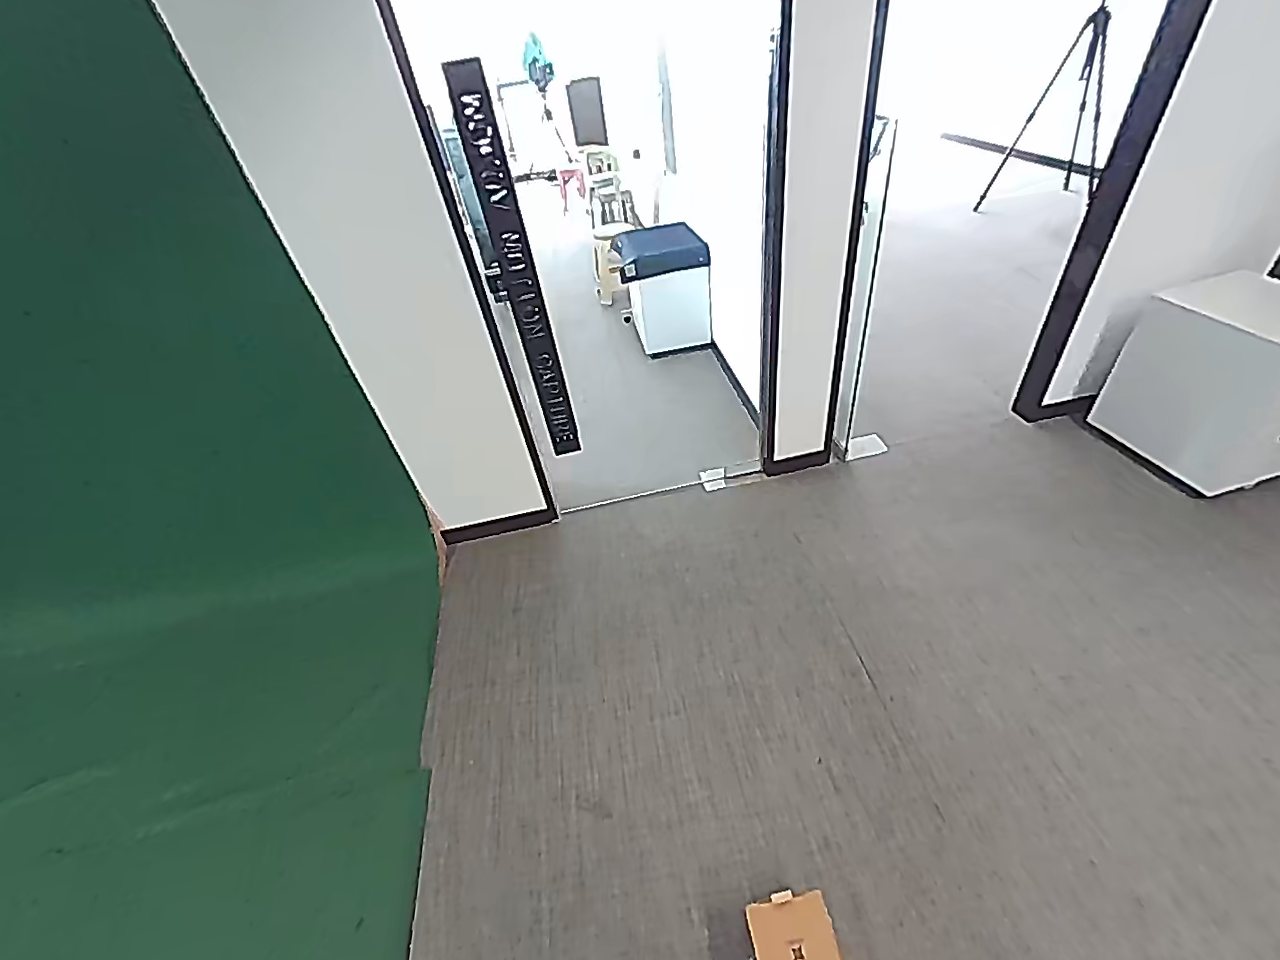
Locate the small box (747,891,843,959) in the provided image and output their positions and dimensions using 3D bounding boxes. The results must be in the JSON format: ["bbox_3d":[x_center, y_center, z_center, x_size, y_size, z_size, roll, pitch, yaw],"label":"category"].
[{"bbox_3d":[0.321,0.983,1.110,0.168,0.176,0.179,-11,41,1],"label":"small box"}]
